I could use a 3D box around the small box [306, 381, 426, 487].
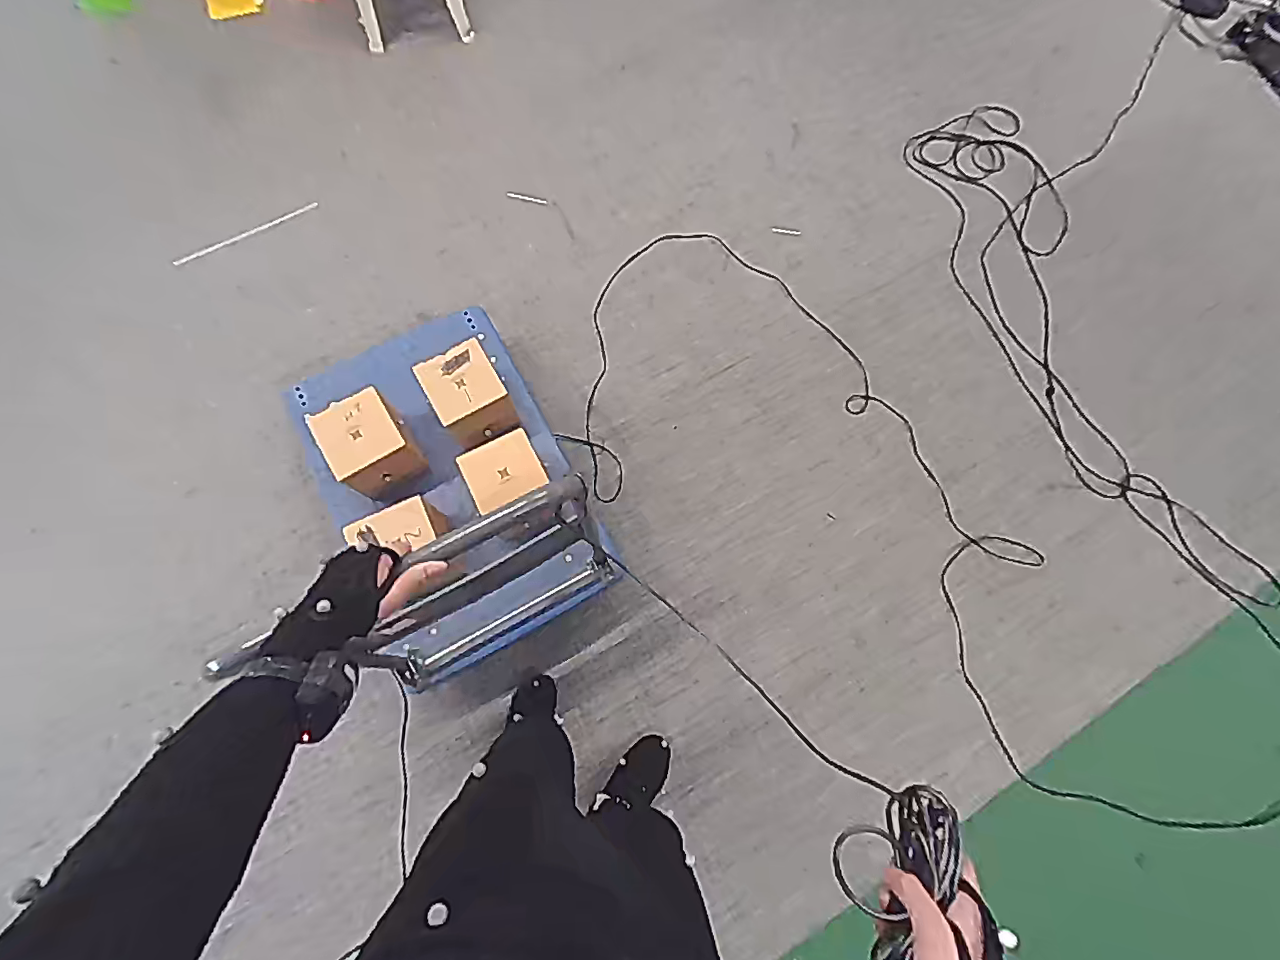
[{"bbox_3d":[-0.641,-0.098,1.288,0.168,0.176,0.179,-31,77,-11],"label":"small box"}]

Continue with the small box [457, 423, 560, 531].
[{"bbox_3d":[-0.302,-0.001,1.271,0.168,0.176,0.179,-27,77,-9],"label":"small box"}]

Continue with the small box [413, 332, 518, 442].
[{"bbox_3d":[-0.420,-0.222,1.329,0.168,0.176,0.179,-30,77,-9],"label":"small box"}]
